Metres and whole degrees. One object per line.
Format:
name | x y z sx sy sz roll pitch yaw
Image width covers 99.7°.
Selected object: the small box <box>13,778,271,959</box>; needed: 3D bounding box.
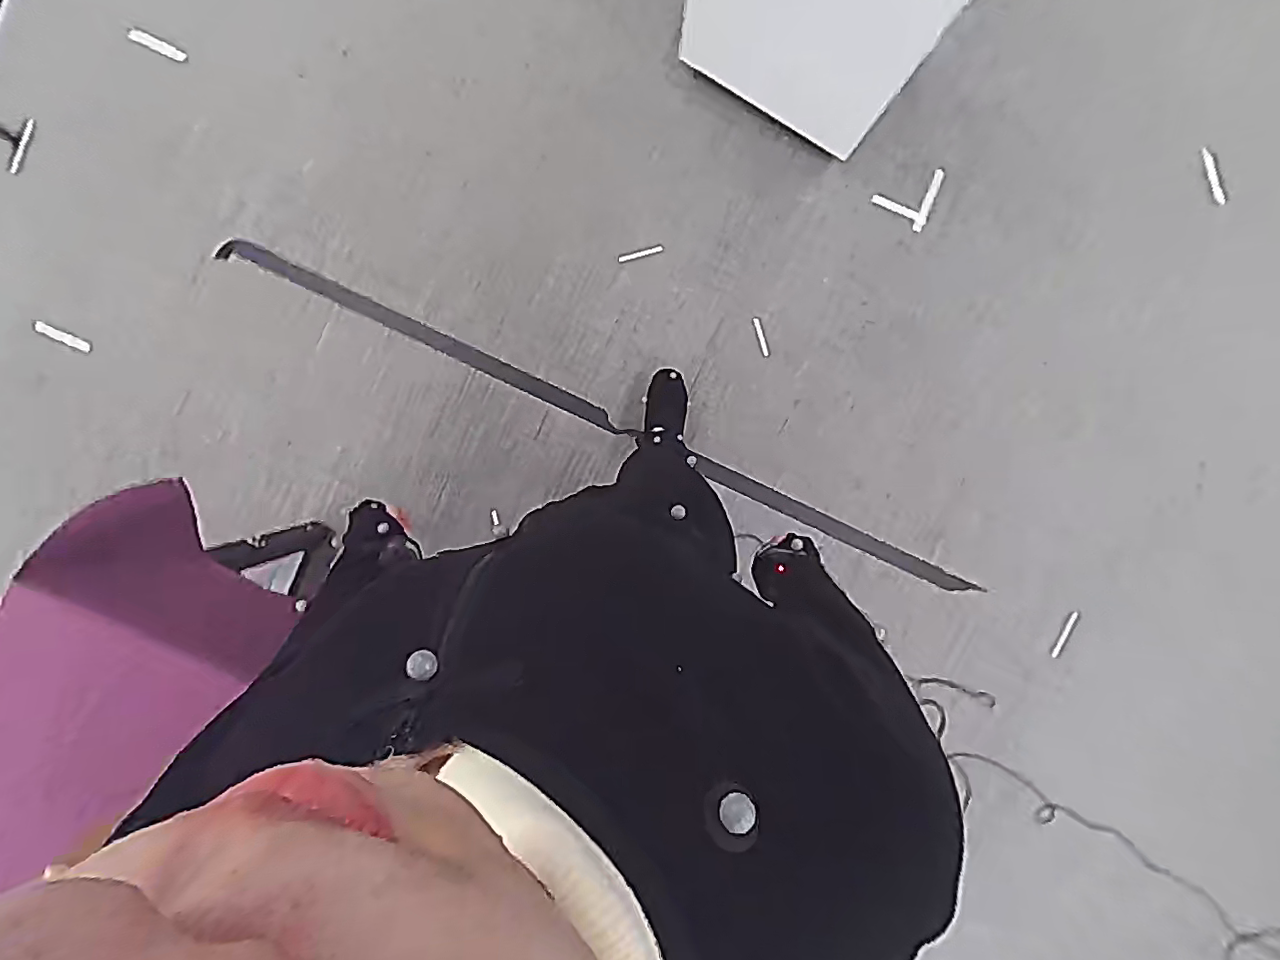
small box | -0.634 0.537 0.711 0.168 0.176 0.179 25 94 -2
